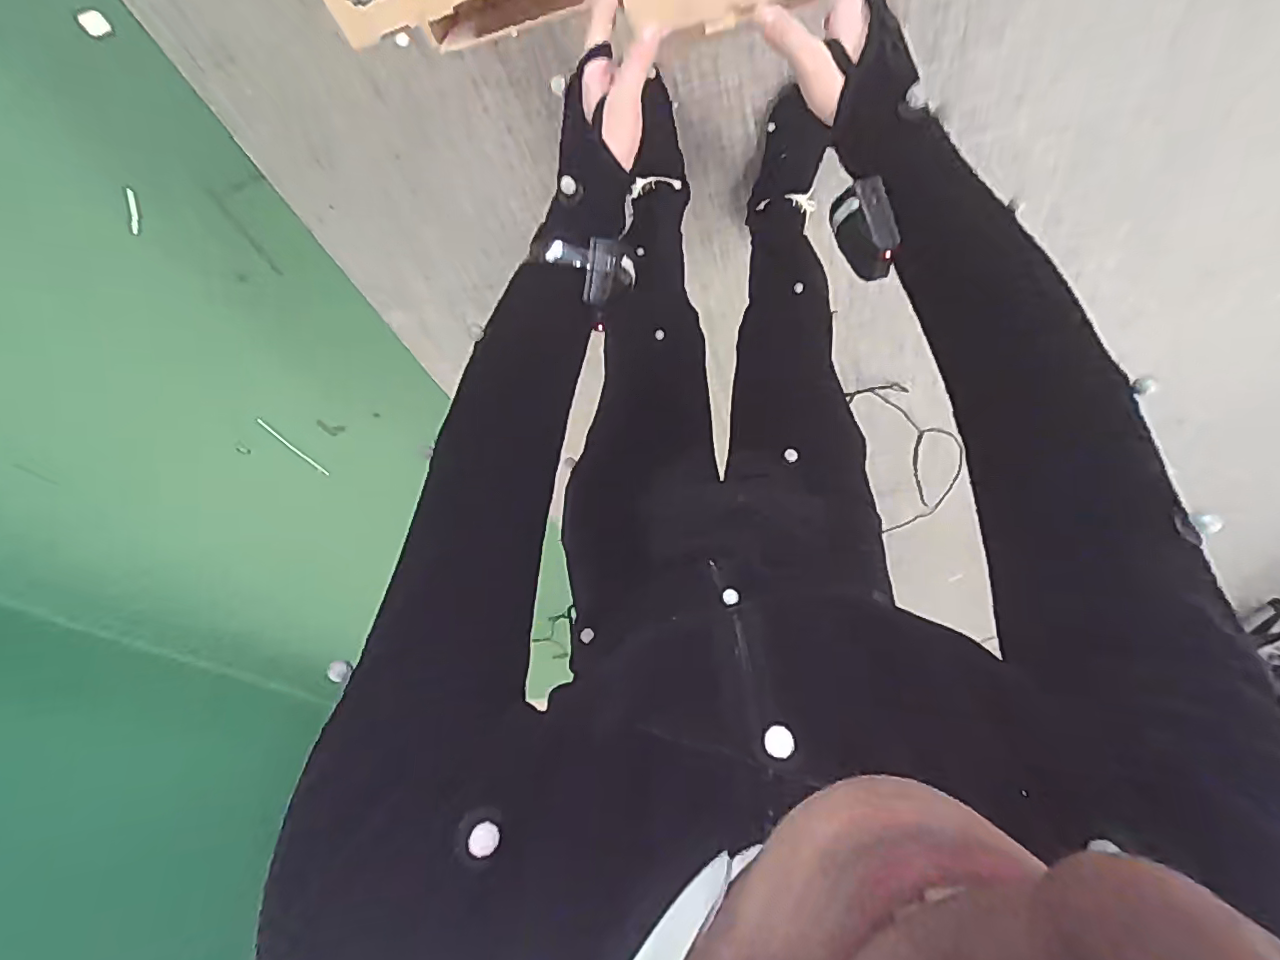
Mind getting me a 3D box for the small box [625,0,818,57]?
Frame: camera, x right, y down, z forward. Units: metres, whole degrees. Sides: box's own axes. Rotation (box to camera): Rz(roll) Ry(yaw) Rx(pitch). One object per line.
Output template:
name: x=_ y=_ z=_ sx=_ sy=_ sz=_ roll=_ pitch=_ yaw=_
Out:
small box: x=0.066 y=-0.478 z=0.447 sx=0.168 sy=0.176 sz=0.179 roll=-7 pitch=121 yaw=12
